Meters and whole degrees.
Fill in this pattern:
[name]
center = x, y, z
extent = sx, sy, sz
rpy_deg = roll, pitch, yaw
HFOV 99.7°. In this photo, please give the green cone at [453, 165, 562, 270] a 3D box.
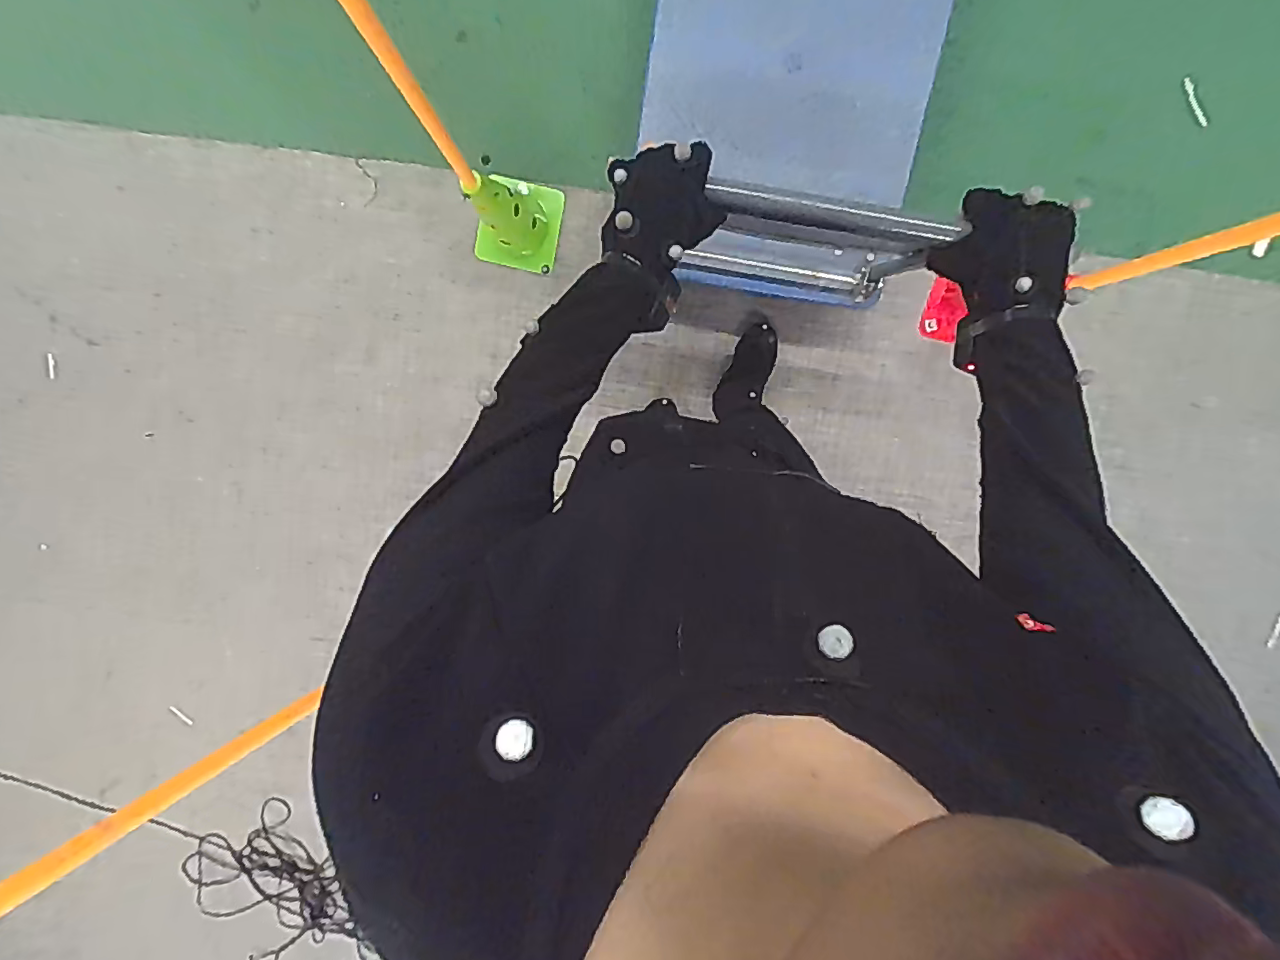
[green cone]
center = -0.313, -0.606, 1.176
extent = 0.202, 0.368, 0.200
rpy_deg = 13, 103, 0
